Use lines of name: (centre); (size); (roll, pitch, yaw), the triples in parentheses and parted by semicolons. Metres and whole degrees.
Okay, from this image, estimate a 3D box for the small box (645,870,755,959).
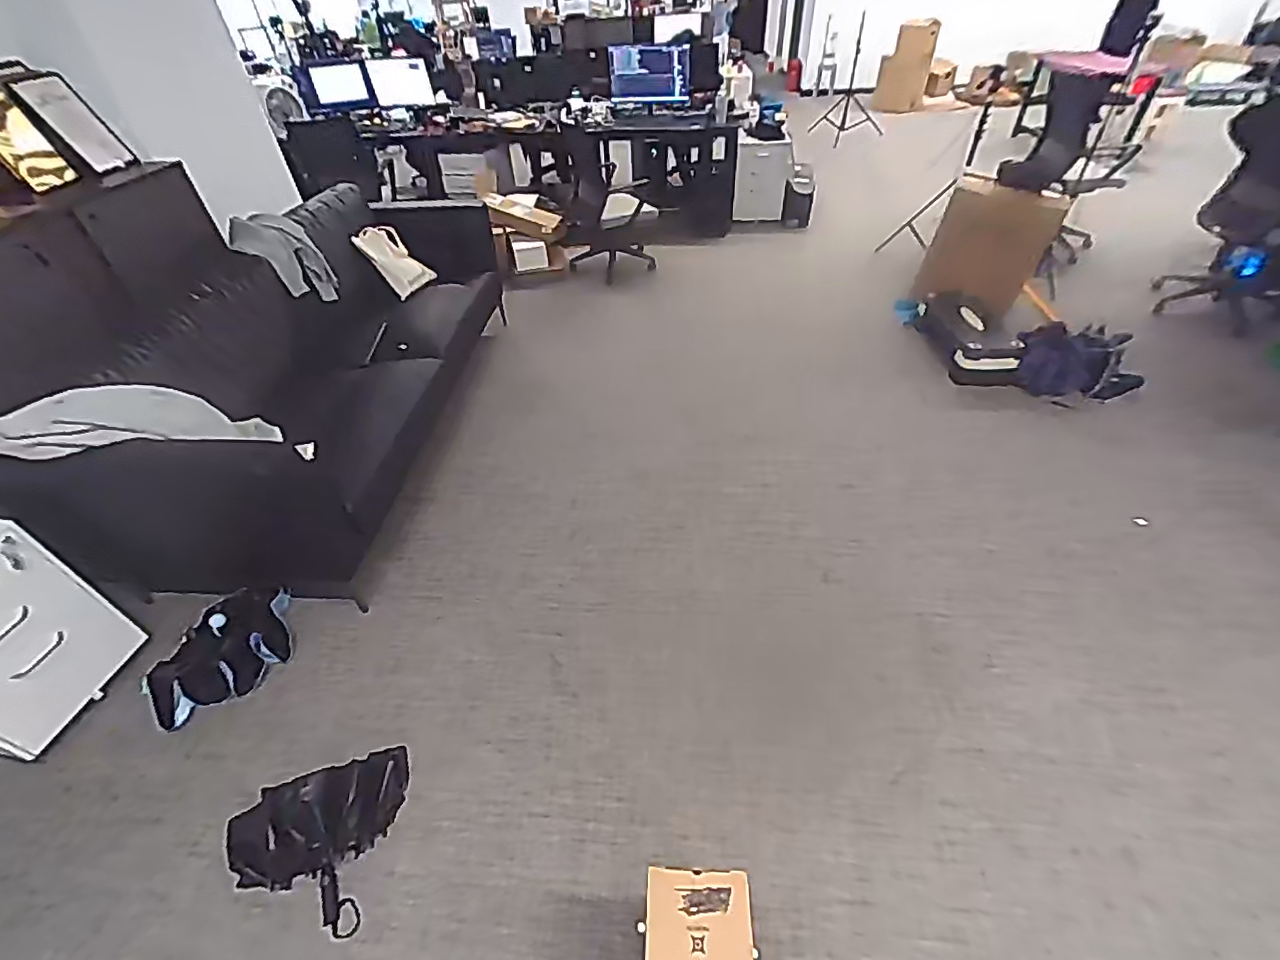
small box: (0.092, 0.759, 0.877); (0.168, 0.176, 0.179); (0, 46, 4)
